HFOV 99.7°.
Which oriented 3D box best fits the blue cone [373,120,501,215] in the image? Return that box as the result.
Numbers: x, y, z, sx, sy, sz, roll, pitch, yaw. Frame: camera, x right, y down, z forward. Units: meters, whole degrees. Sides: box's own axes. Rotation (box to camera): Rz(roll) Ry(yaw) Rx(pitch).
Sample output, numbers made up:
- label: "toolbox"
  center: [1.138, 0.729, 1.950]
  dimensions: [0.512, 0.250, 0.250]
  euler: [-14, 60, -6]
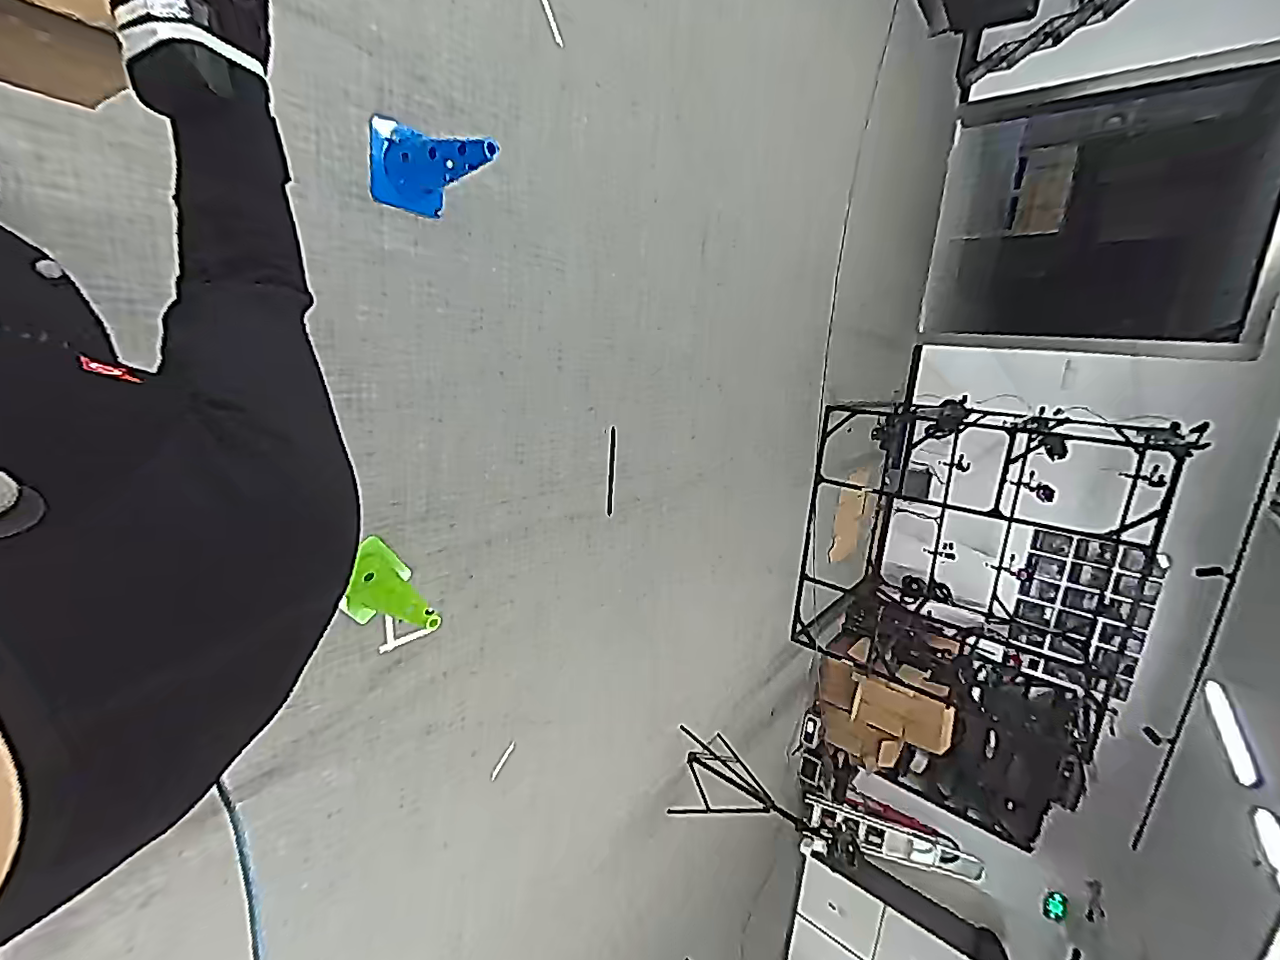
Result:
- label: "blue cone"
  center: [-0.484, -0.789, 1.335]
  dimensions: [0.192, 0.380, 0.193]
  euler: [-7, 108, -53]

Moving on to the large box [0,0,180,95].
- label: "large box"
  center: [-0.562, -0.482, 0.293]
  dimensions: [0.408, 0.320, 0.320]
  euler: [-12, 115, -53]

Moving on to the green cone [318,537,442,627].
- label: "green cone"
  center: [-0.657, 0.323, 1.459]
  dimensions: [0.202, 0.368, 0.200]
  euler: [-53, 139, -29]
